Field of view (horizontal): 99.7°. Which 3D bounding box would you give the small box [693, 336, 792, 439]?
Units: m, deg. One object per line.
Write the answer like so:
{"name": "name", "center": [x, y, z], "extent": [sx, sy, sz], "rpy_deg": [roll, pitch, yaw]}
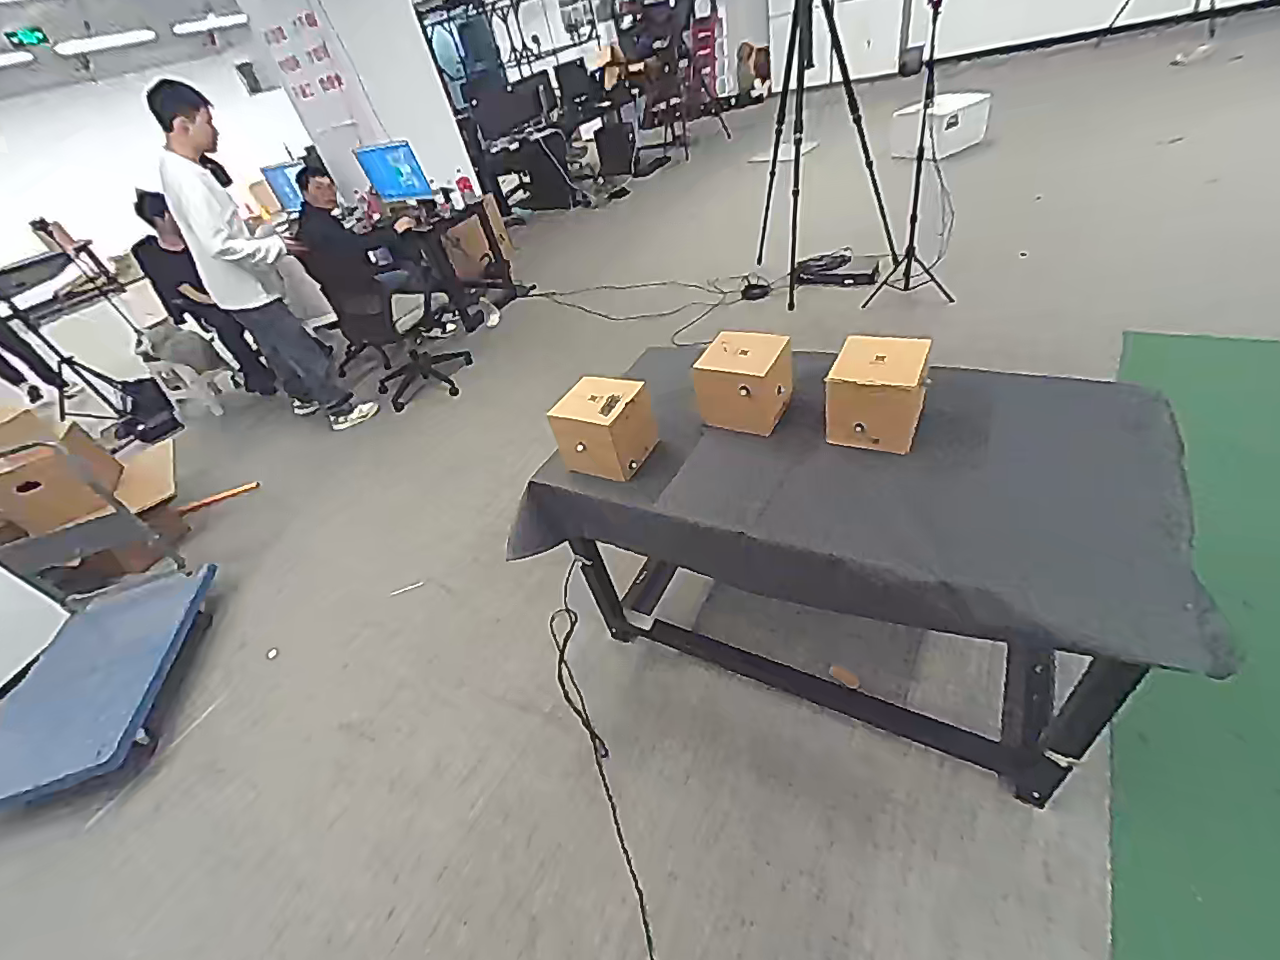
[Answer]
{"name": "small box", "center": [0.250, -0.217, 1.278], "extent": [0.179, 0.176, 0.168], "rpy_deg": [14, 49, 31]}

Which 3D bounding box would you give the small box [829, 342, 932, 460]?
{"name": "small box", "center": [0.504, -0.171, 1.147], "extent": [0.168, 0.176, 0.179], "rpy_deg": [13, 49, 30]}

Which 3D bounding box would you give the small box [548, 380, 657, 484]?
{"name": "small box", "center": [-0.078, -0.111, 1.266], "extent": [0.179, 0.176, 0.168], "rpy_deg": [12, 47, 30]}
